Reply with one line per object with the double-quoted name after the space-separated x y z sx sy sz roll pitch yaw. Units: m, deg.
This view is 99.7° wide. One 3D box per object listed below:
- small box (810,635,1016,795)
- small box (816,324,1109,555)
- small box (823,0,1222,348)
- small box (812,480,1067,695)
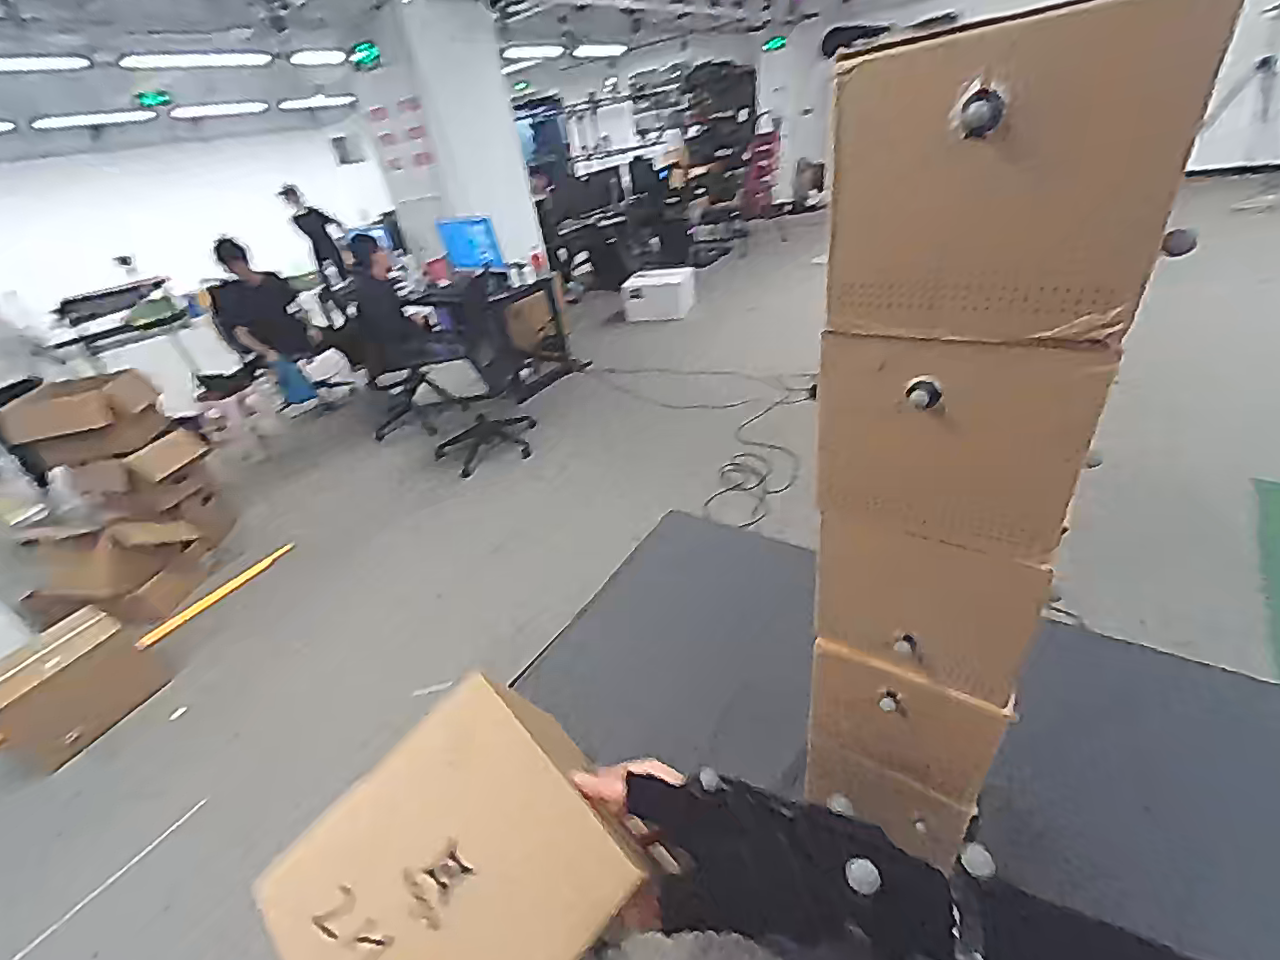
0.307 0.218 0.616 0.179 0.176 0.168 14 39 33 "small box"
0.258 -0.062 0.453 0.179 0.176 0.168 15 40 33 "small box"
0.237 -0.197 0.364 0.179 0.176 0.168 16 41 35 "small box"
0.285 0.079 0.535 0.179 0.176 0.168 16 40 34 "small box"
